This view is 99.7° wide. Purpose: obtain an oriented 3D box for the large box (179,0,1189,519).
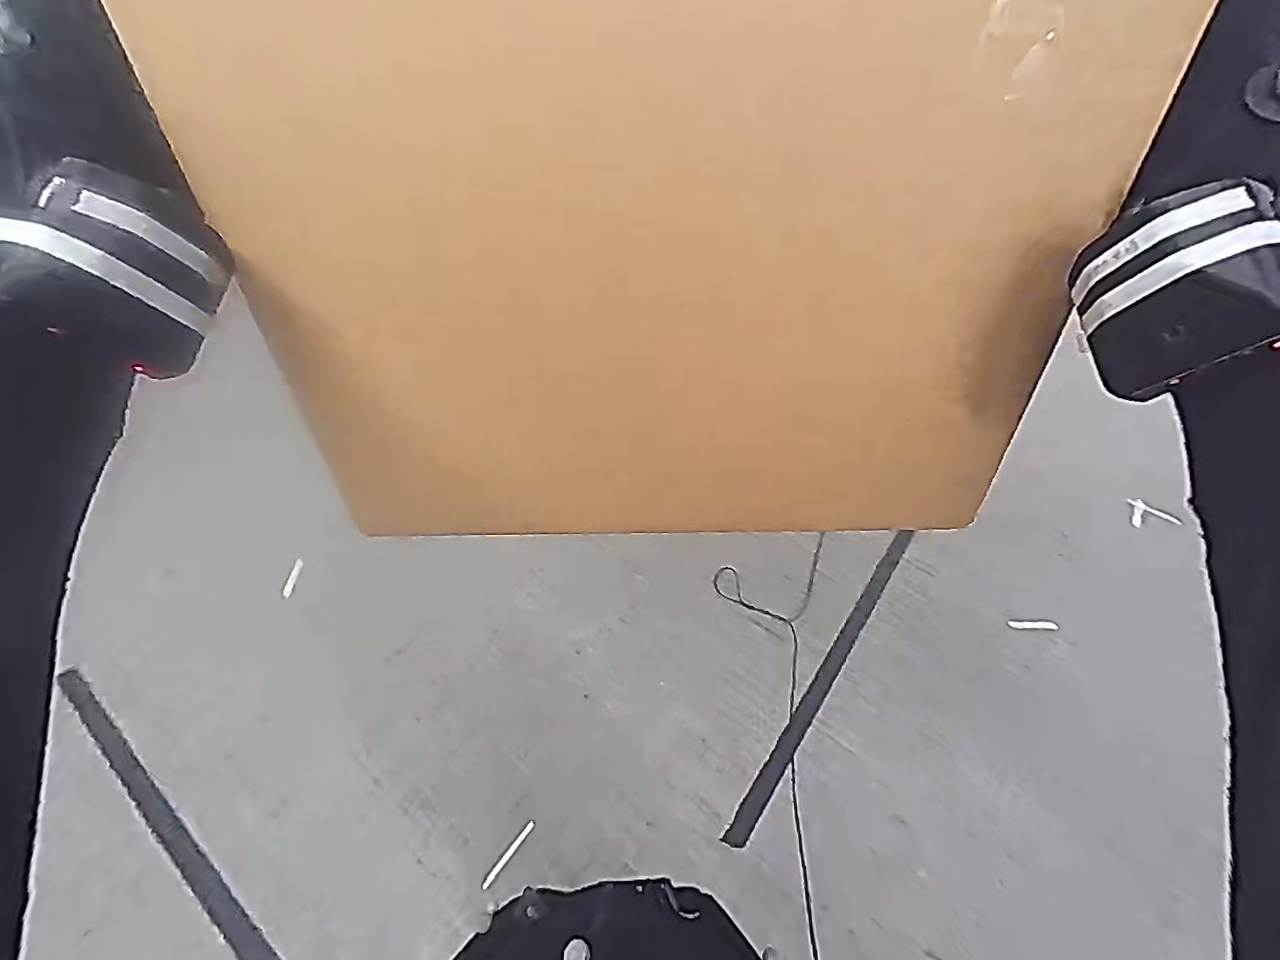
[{"bbox_3d":[0.017,-0.182,0.394,0.408,0.320,0.320,0,38,1],"label":"large box"}]
